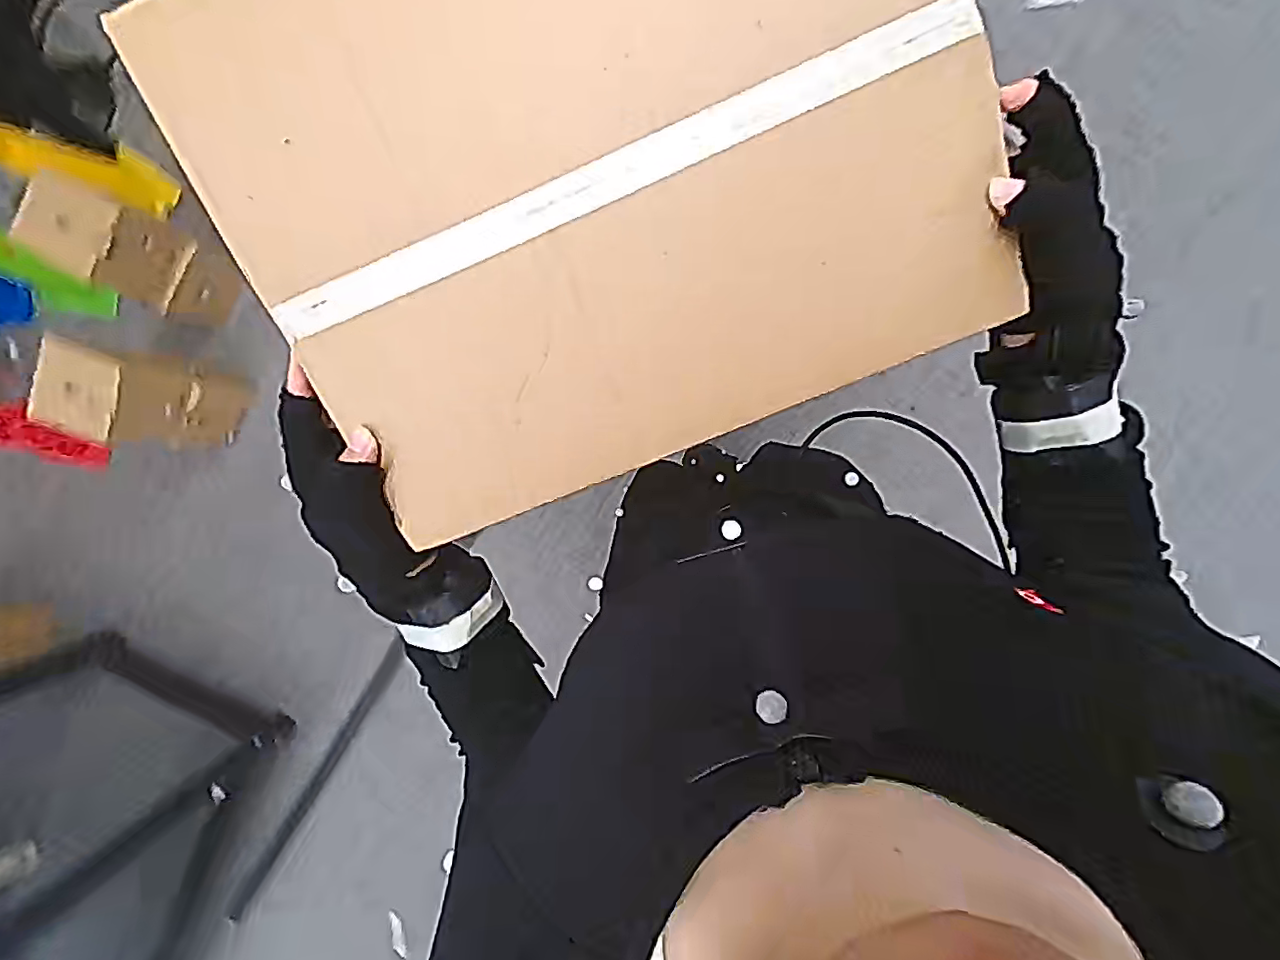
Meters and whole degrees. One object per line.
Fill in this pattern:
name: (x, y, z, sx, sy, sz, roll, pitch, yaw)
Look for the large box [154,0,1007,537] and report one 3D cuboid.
large box: (-0.016, -0.212, 0.443, 0.408, 0.320, 0.320, -20, 107, 6)
